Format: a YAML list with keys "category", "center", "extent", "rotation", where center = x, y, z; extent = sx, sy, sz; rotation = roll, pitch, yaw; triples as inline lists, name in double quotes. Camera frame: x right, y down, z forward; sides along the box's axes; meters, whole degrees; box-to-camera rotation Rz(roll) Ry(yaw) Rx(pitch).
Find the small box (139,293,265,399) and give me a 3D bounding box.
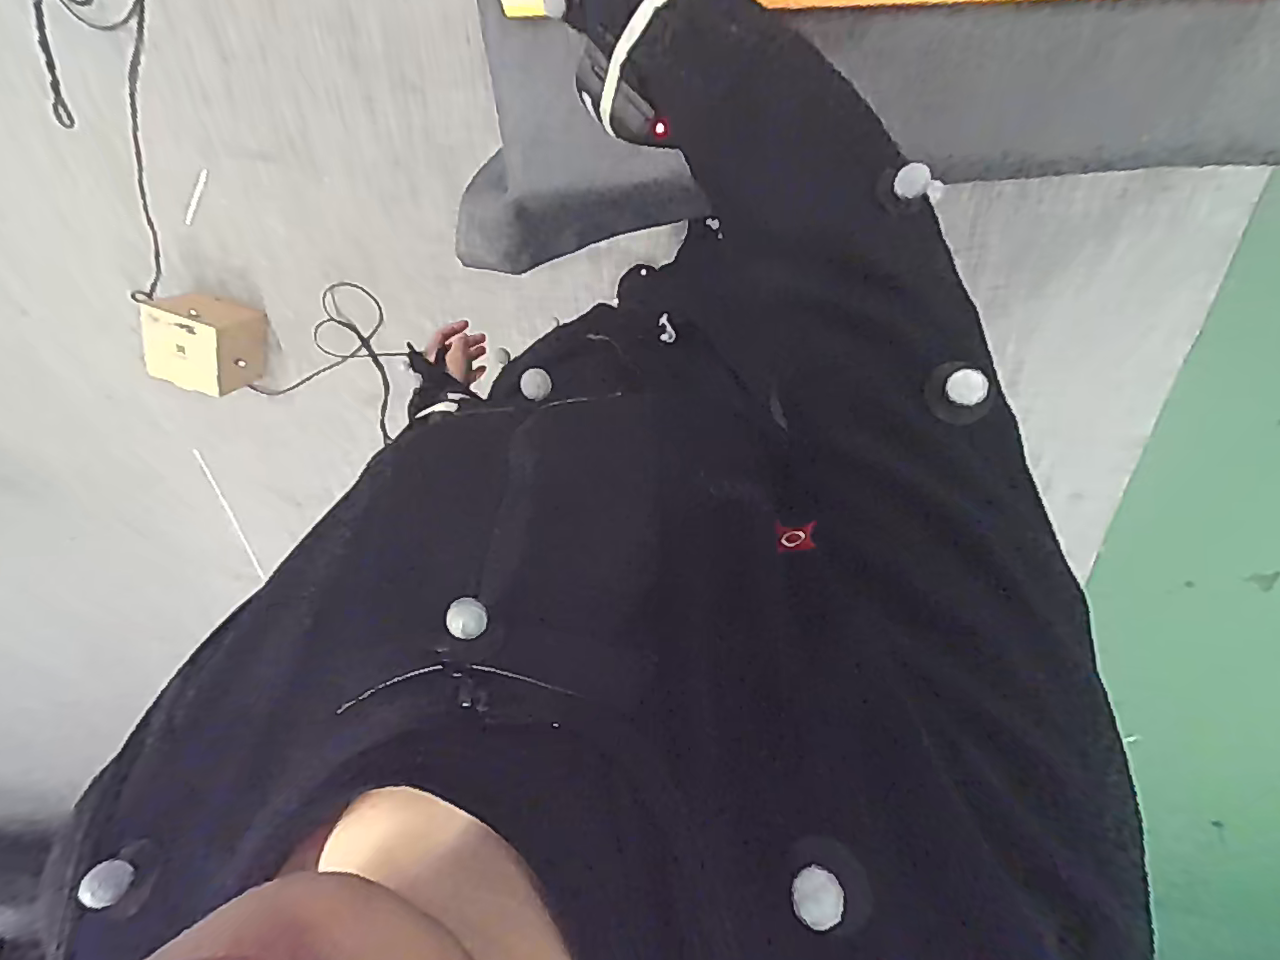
- category: "small box"
  center: [-1.024, -0.321, 1.281]
  extent: [0.168, 0.176, 0.179]
  rotation: [19, 119, -5]
